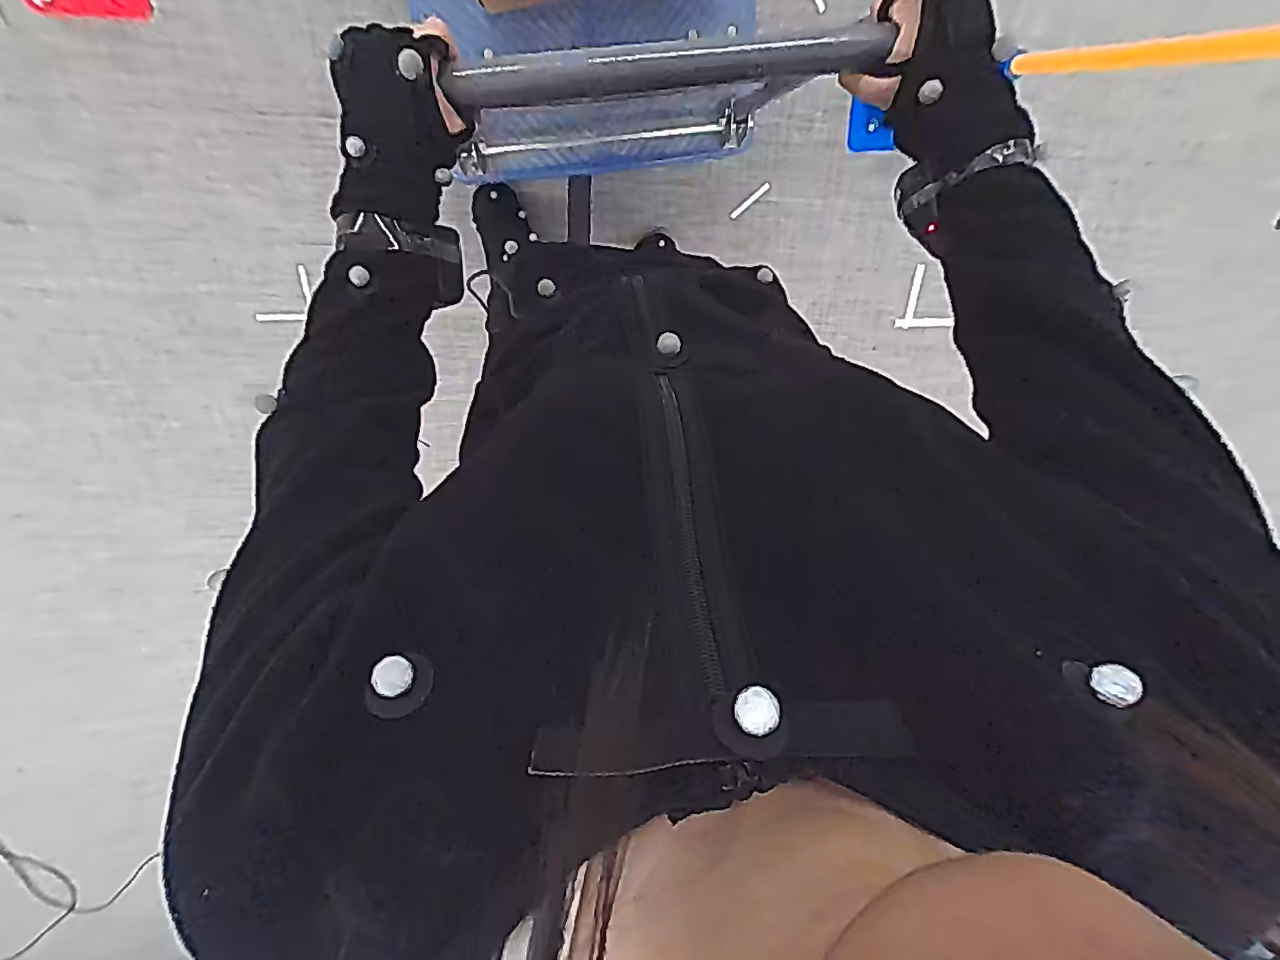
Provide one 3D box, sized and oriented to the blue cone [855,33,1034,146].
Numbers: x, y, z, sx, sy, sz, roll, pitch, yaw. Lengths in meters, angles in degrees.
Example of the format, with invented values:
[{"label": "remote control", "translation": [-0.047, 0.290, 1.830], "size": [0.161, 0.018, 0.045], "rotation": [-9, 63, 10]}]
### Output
[{"label": "blue cone", "translation": [0.581, -0.758, 1.021], "size": [0.193, 0.380, 0.192], "rotation": [-5, 118, -6]}]
